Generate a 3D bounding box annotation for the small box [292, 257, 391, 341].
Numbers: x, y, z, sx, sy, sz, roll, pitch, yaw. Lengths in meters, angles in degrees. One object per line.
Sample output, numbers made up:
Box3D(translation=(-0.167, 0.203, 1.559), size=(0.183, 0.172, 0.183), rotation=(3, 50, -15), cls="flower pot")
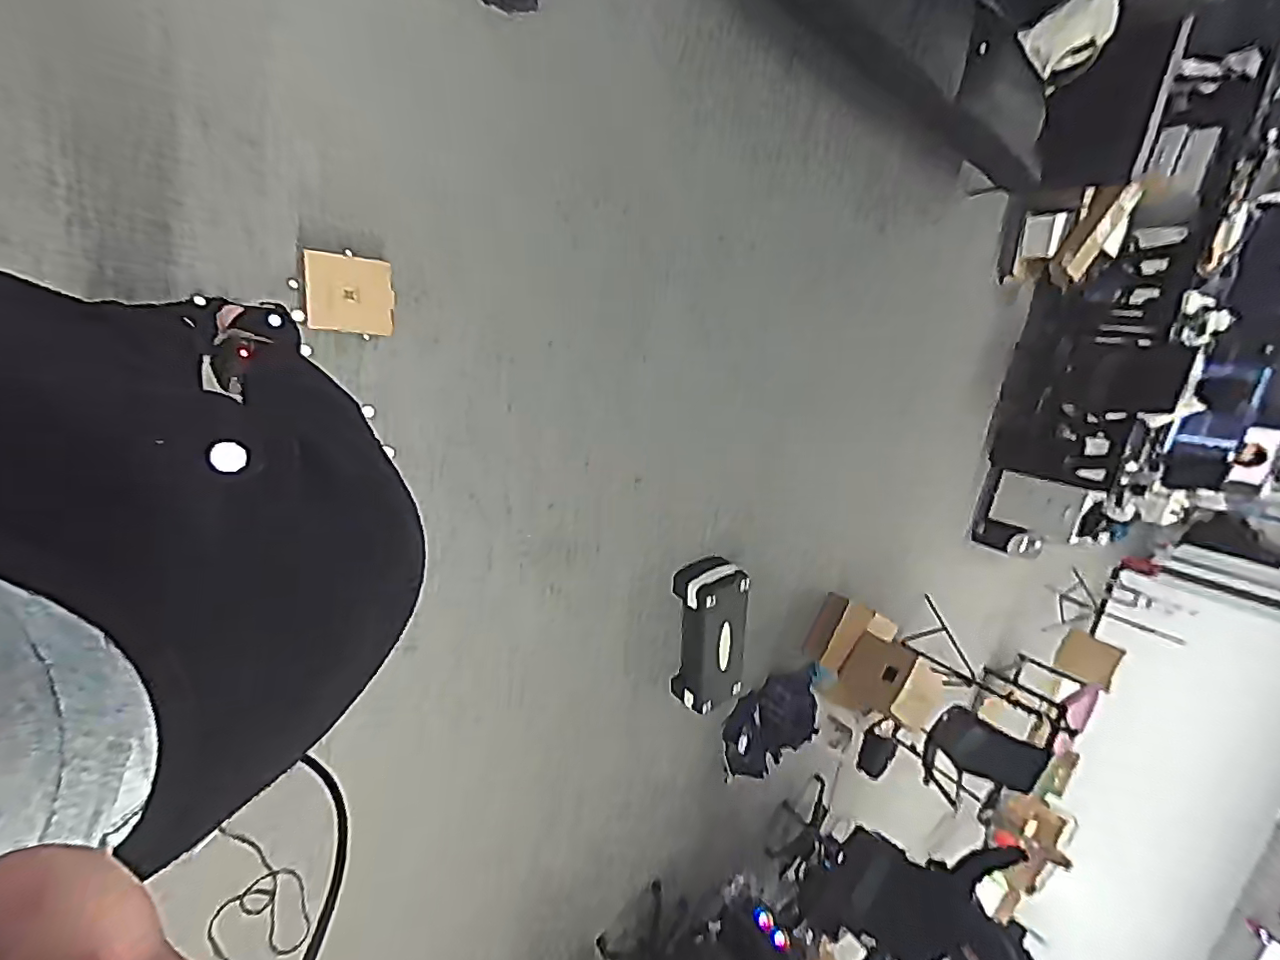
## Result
Box3D(translation=(-0.702, -0.421, 1.272), size=(0.179, 0.176, 0.168), rotation=(-6, 108, -36), cls="small box")
